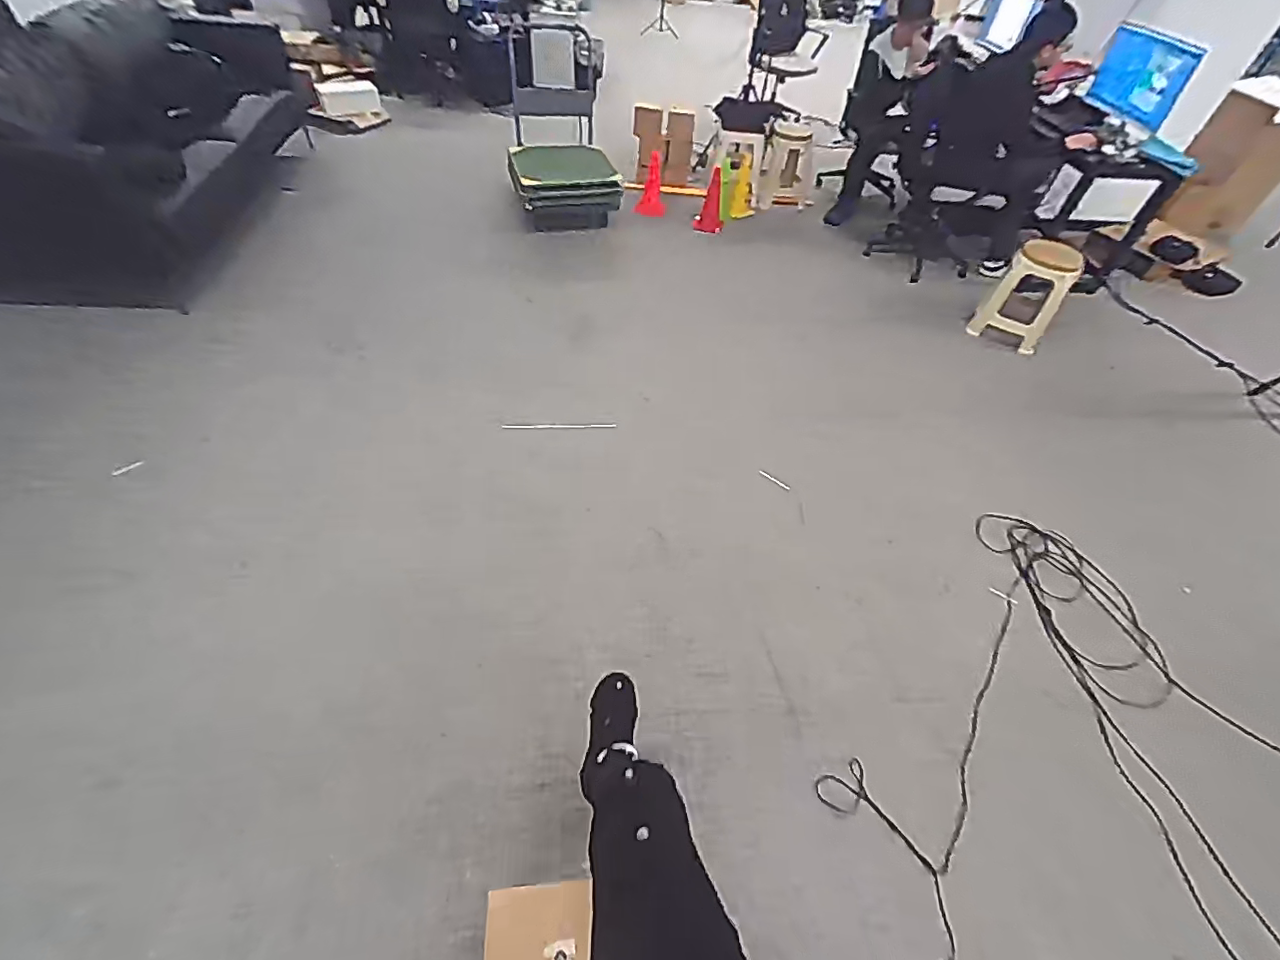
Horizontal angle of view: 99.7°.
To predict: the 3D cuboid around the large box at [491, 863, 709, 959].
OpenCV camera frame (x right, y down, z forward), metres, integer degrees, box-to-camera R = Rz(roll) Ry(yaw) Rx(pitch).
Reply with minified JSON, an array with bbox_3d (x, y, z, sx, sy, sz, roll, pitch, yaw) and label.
[{"bbox_3d":[-0.075,0.994,1.079,0.408,0.320,0.320,-2,49,-7],"label":"large box"}]
